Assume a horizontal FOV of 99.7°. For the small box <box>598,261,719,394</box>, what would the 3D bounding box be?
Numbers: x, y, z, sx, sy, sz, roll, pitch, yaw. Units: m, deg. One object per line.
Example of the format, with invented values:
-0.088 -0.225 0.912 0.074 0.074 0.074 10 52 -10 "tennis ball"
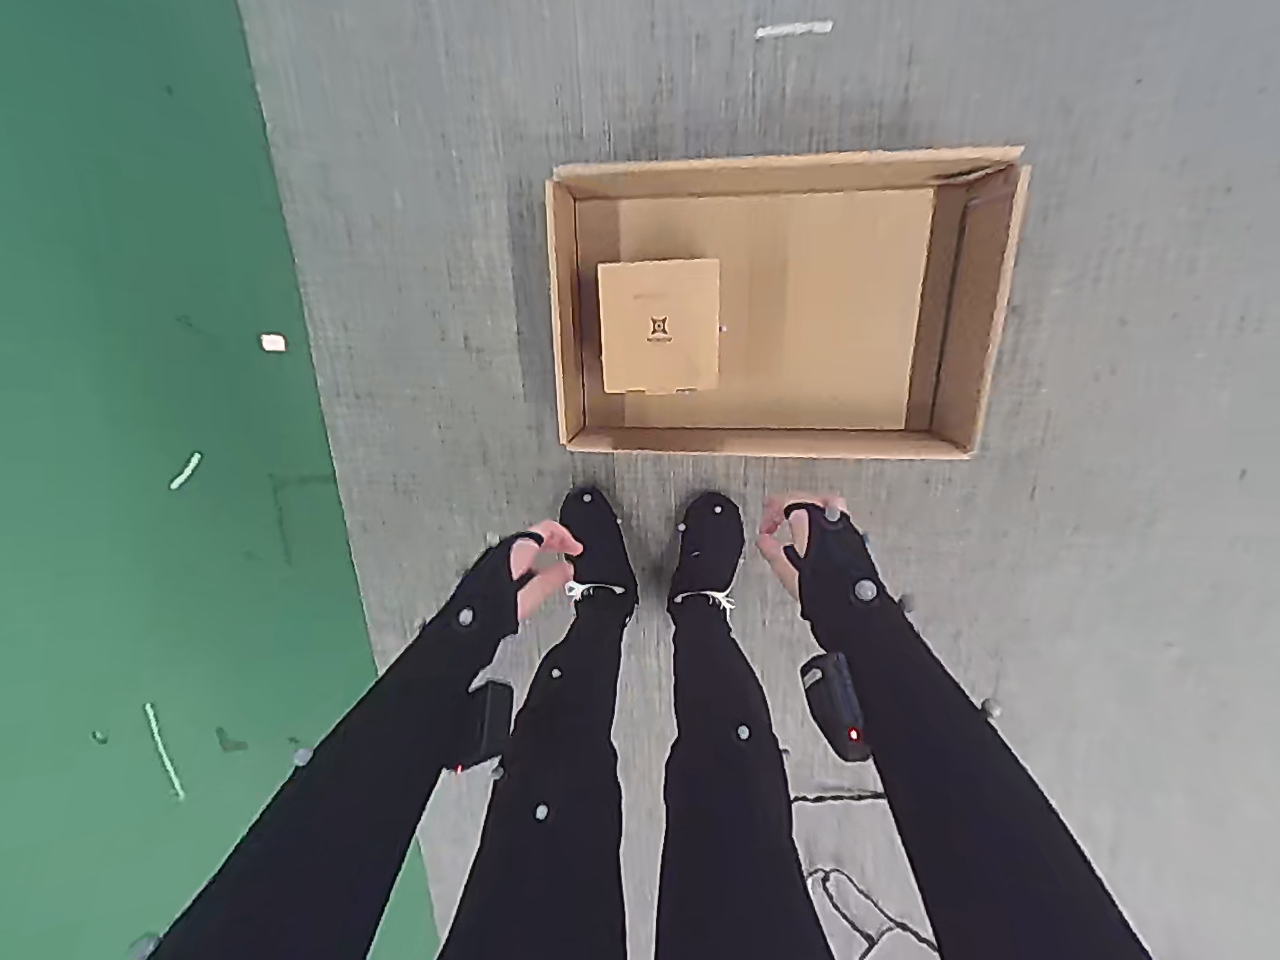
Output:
0.034 -0.232 0.820 0.168 0.176 0.179 0 107 6 "small box"
